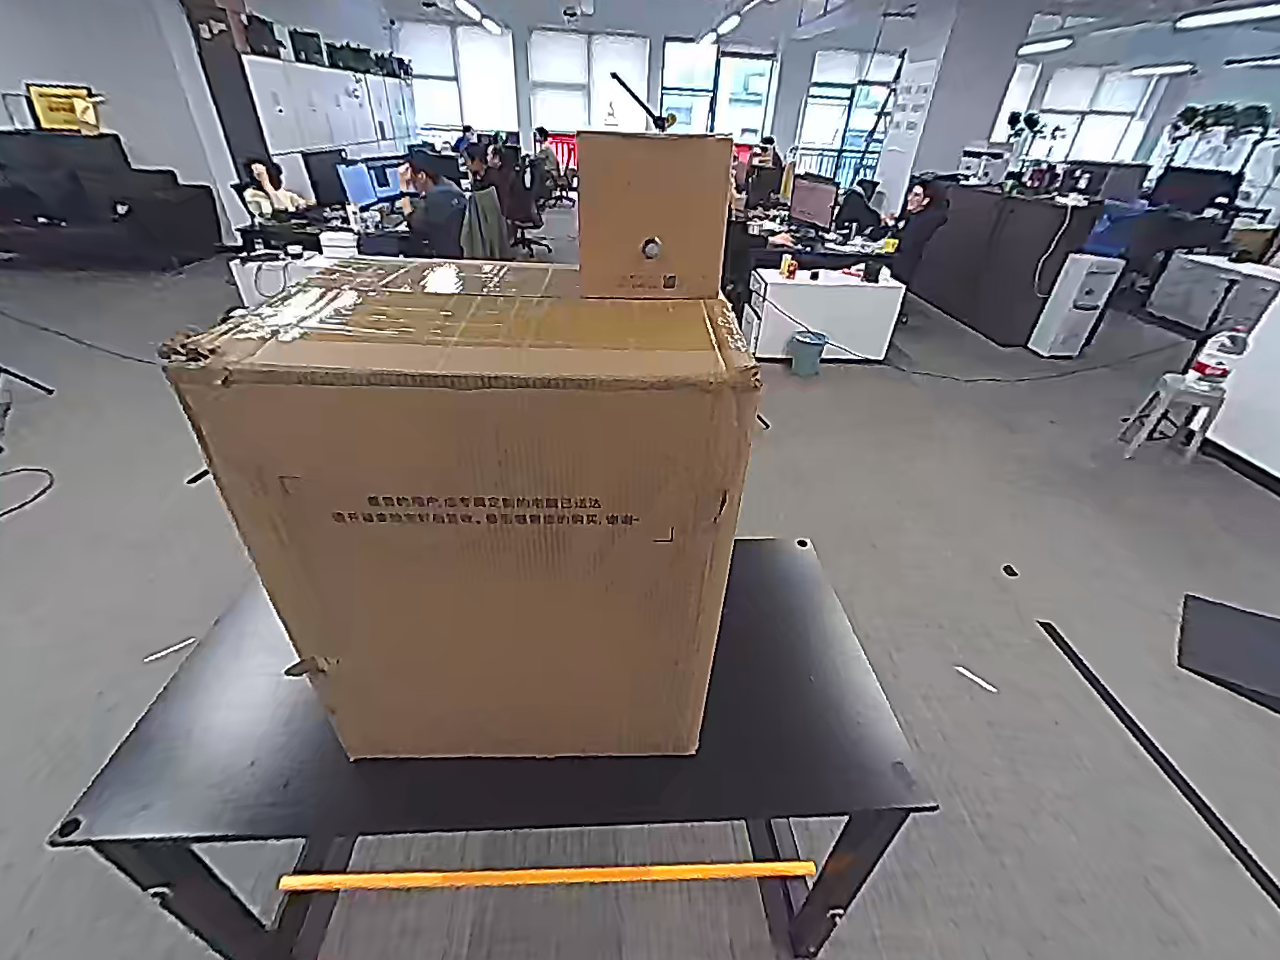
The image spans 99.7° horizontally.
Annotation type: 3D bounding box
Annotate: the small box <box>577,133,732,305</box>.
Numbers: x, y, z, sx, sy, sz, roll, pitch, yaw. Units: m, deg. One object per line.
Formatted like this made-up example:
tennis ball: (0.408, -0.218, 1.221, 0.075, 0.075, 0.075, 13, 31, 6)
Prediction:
small box: (0.009, -0.324, 0.670, 0.168, 0.176, 0.179, -1, 32, -4)
